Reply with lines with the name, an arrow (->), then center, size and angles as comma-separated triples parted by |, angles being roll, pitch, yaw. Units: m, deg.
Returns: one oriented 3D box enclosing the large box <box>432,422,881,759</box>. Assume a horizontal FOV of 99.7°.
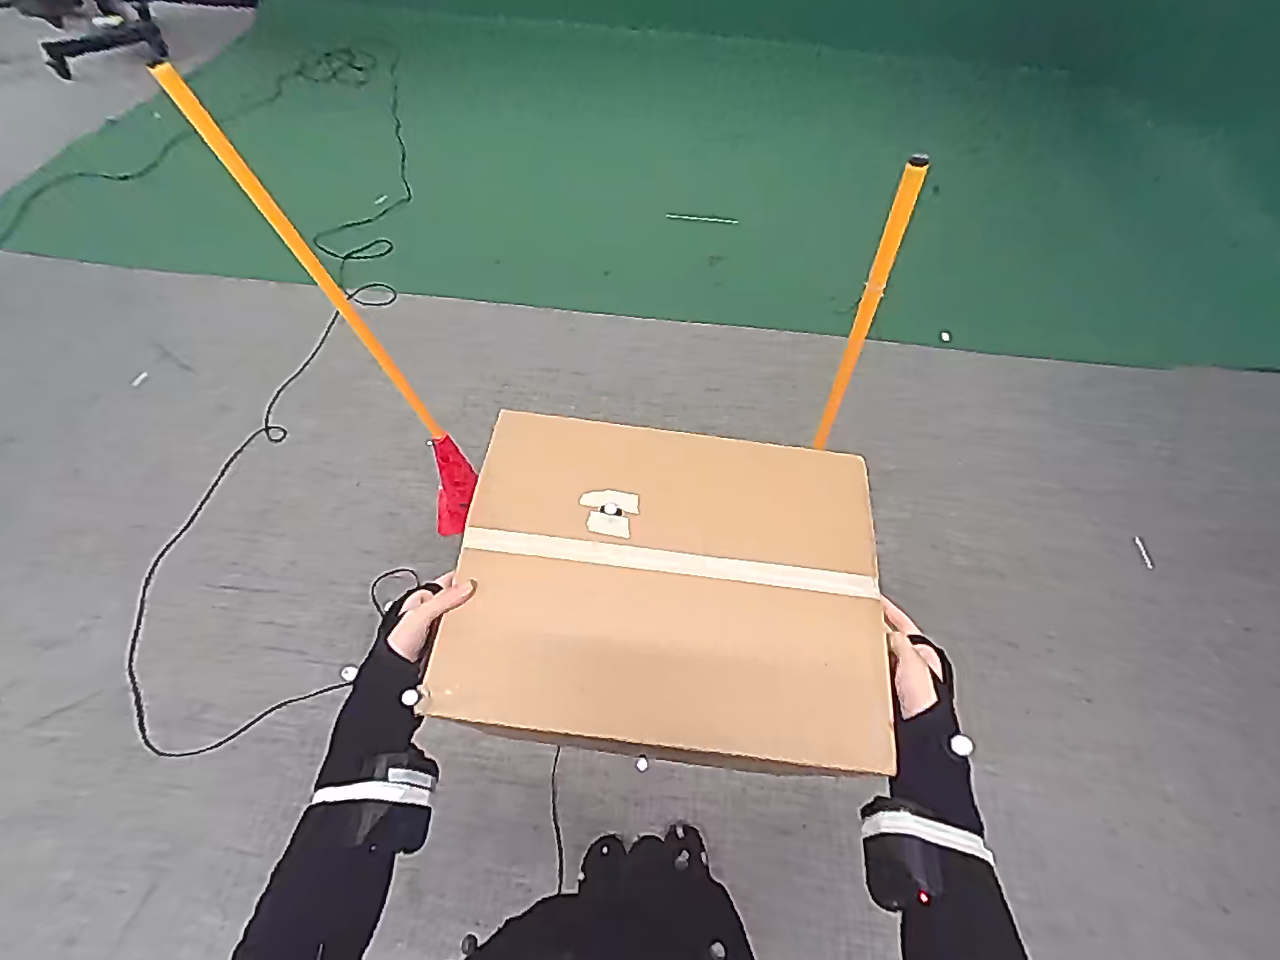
large box -> 0.024, 0.156, 0.671 | 0.408, 0.320, 0.320 | 7, 61, 1
